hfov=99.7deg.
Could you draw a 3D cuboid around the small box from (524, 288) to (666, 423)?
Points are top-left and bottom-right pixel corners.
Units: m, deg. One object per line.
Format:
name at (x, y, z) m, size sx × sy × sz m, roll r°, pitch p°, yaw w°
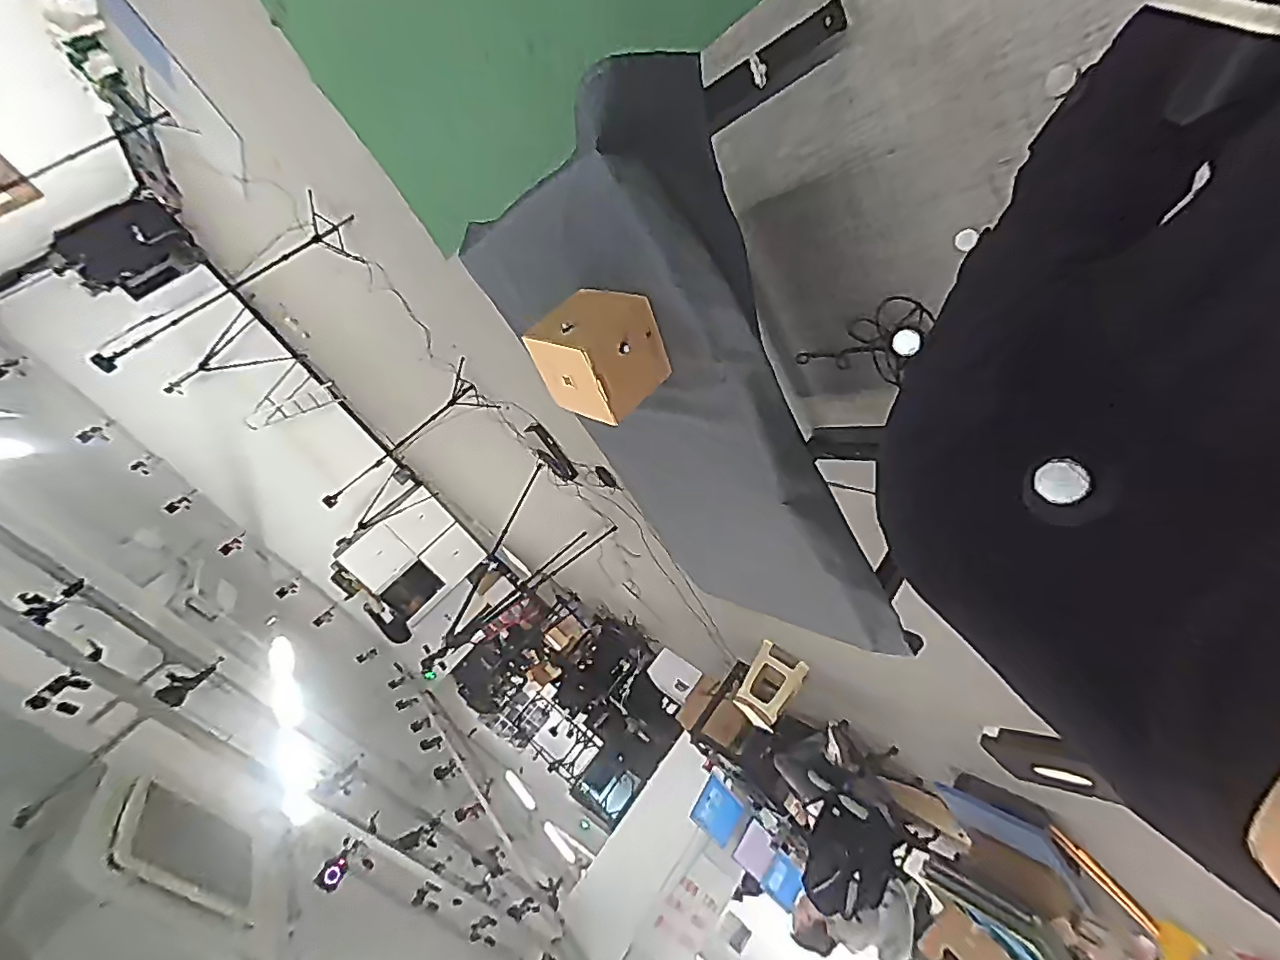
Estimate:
small box at (-0.072, -0.234, 0.995) m, size 0.179 × 0.176 × 0.168 m, roll 24°, pitch 150°, yaw 40°
